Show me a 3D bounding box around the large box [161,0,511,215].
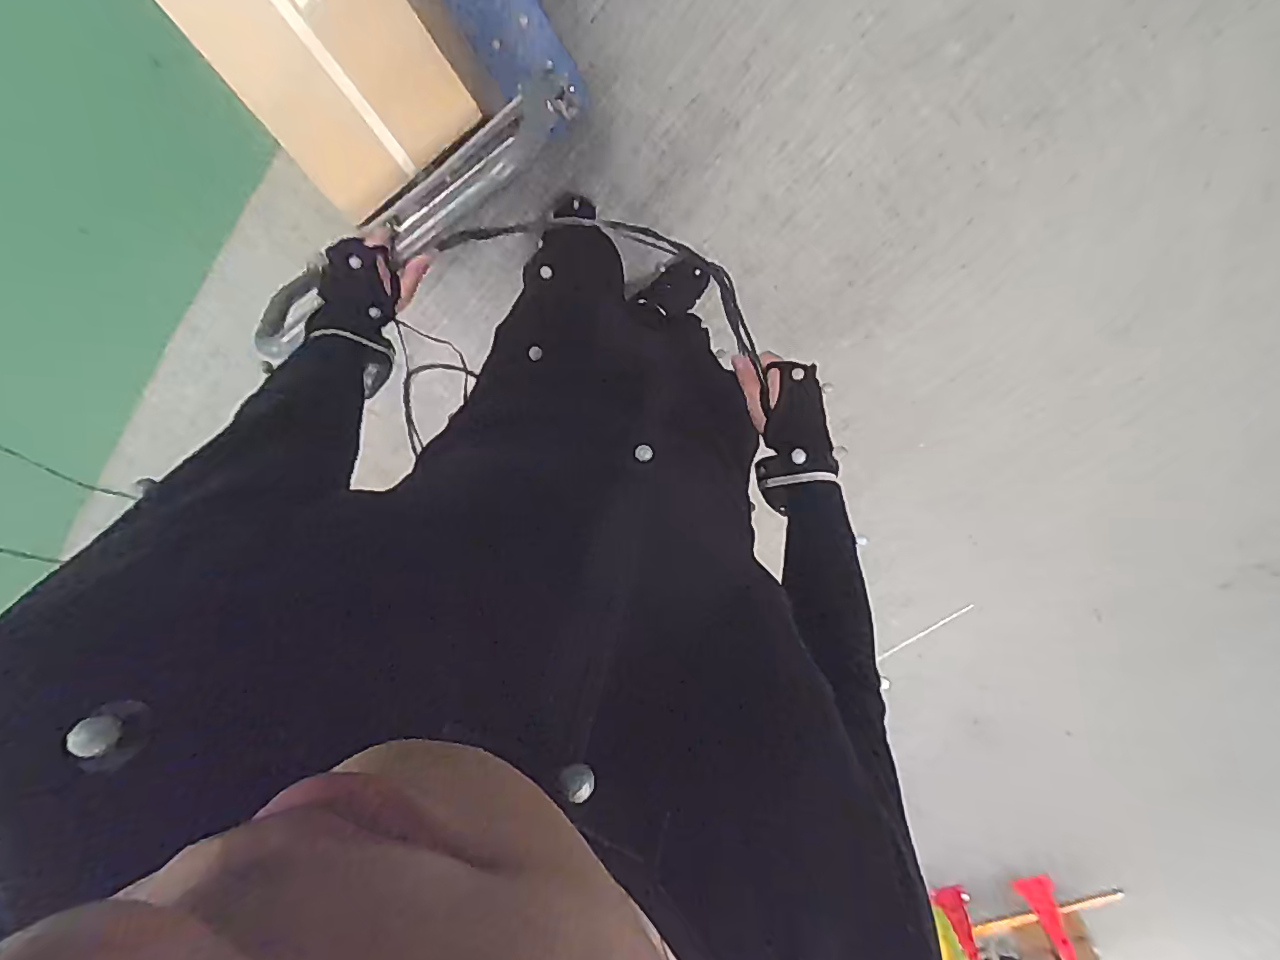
[{"bbox_3d":[-0.494,-0.754,0.944,0.320,0.320,0.408,-28,120,16],"label":"large box"}]
